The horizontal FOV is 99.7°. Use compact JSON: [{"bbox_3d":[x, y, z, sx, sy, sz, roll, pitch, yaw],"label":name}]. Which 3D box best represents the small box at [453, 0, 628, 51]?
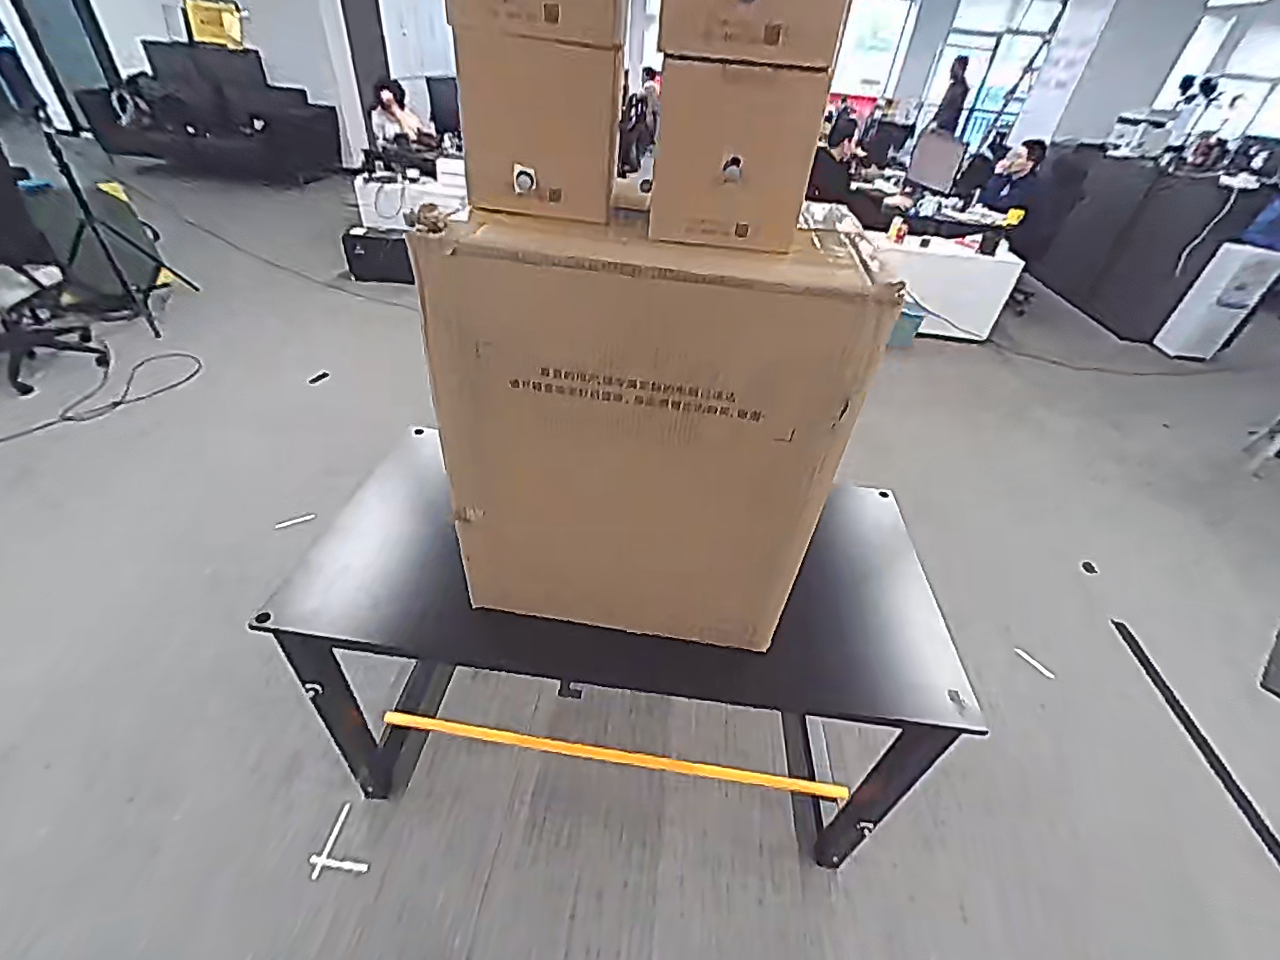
[{"bbox_3d":[-0.095,-0.549,0.549,0.168,0.176,0.179,6,39,-1],"label":"small box"}]

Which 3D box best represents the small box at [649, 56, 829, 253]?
[{"bbox_3d":[0.100,-0.376,0.623,0.168,0.176,0.179,5,40,0],"label":"small box"}]

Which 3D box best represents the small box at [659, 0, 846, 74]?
[{"bbox_3d":[0.109,-0.501,0.515,0.168,0.176,0.179,6,39,2],"label":"small box"}]

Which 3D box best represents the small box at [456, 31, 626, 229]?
[{"bbox_3d":[-0.109,-0.422,0.653,0.168,0.176,0.179,5,40,-2],"label":"small box"}]
